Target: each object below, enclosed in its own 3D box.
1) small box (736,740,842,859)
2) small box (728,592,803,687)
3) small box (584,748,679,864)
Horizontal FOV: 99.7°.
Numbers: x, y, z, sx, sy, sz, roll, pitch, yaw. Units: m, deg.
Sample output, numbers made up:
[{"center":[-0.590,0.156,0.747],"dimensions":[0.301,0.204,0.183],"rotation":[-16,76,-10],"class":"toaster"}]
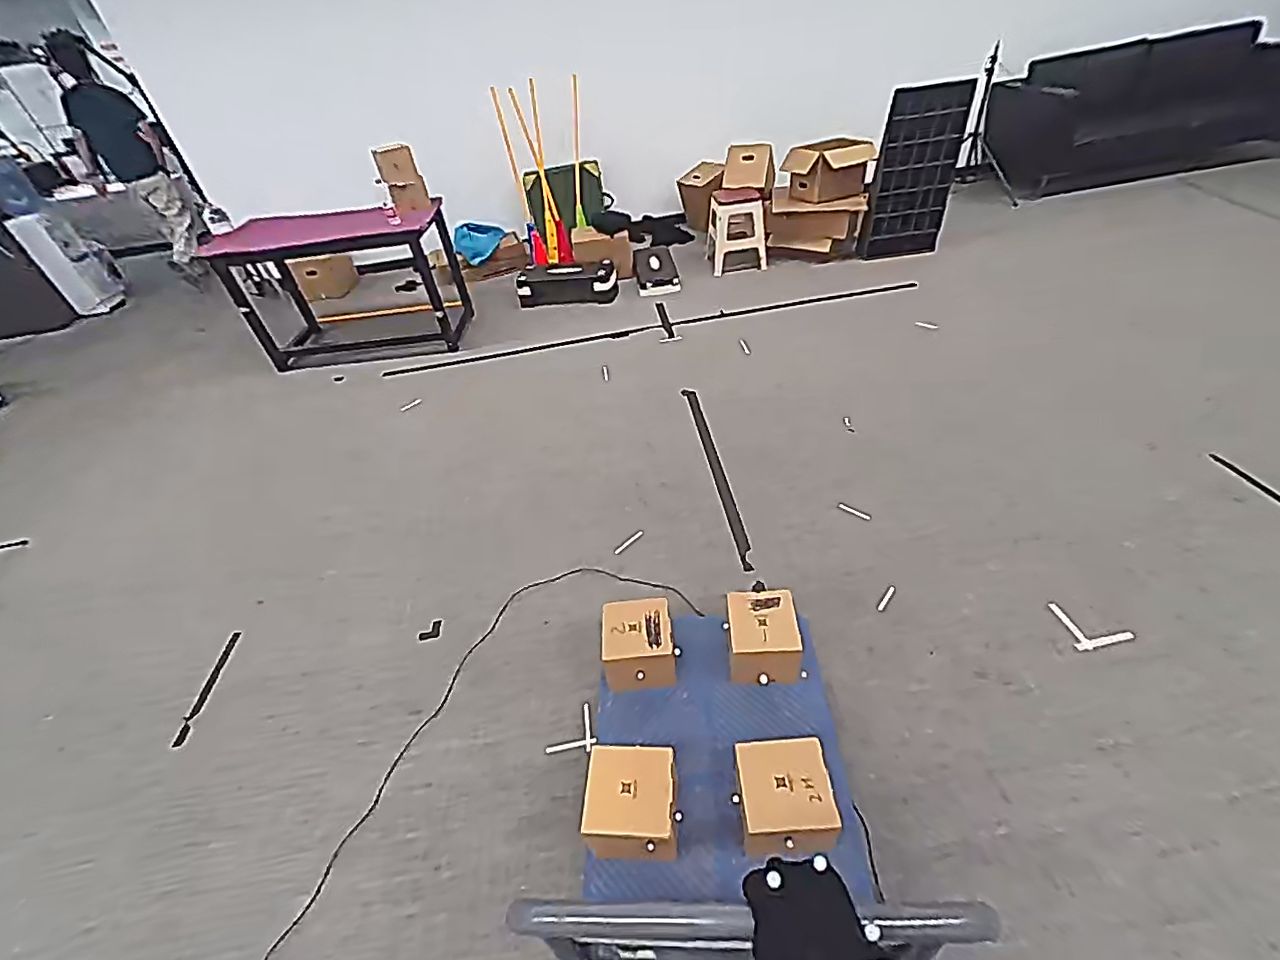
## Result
[{"center":[0.298,0.659,1.112],"dimensions":[0.179,0.176,0.168],"rotation":[-6,41,3],"class":"small box"},{"center":[0.315,0.411,1.391],"dimensions":[0.168,0.176,0.179],"rotation":[-4,42,6],"class":"small box"},{"center":[-0.010,0.685,1.137],"dimensions":[0.179,0.176,0.168],"rotation":[-1,41,6],"class":"small box"}]
